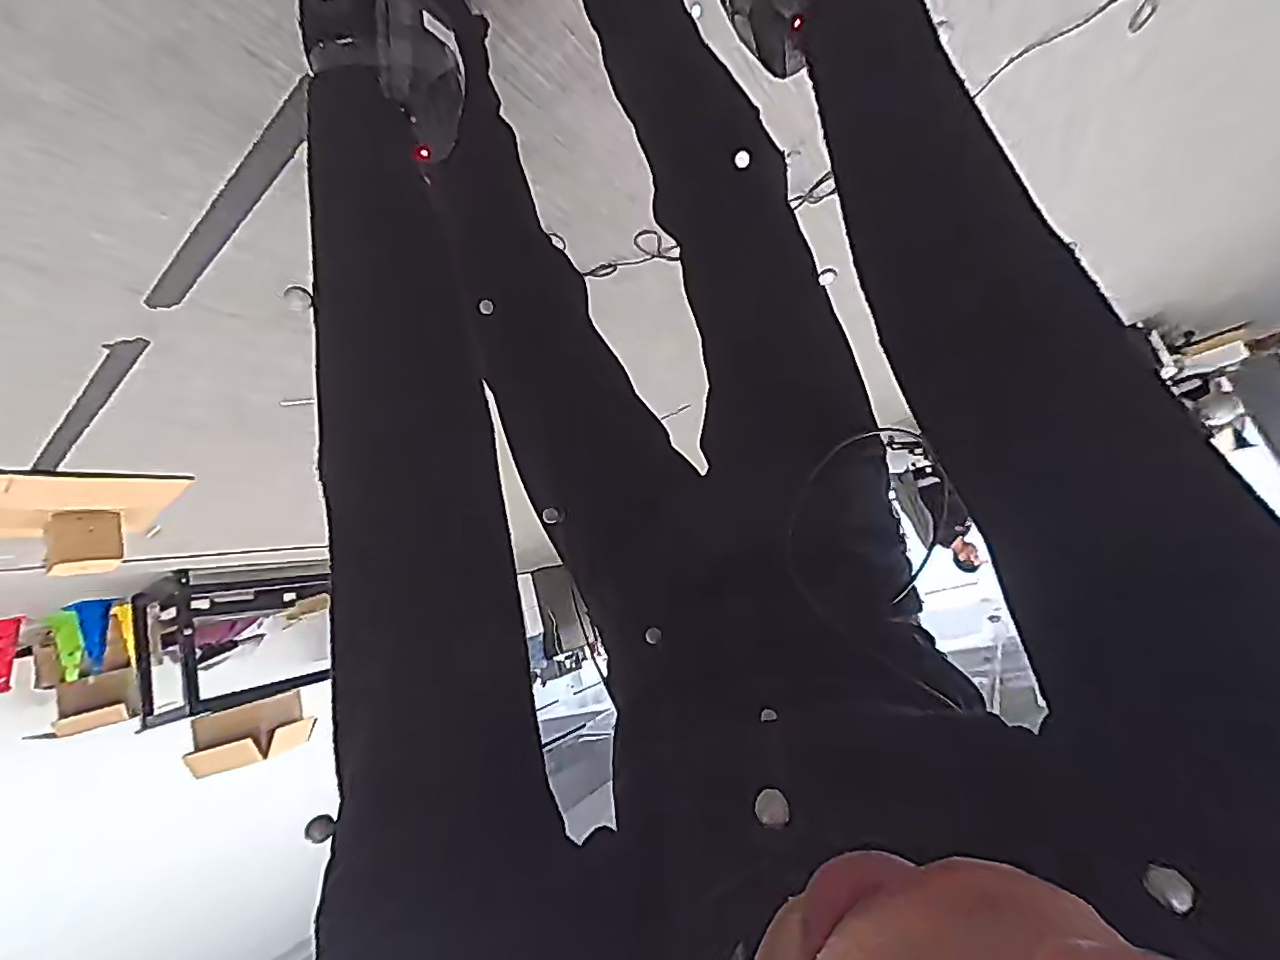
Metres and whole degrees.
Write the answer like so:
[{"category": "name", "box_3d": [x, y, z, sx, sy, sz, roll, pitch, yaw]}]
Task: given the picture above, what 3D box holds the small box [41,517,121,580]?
[{"category": "small box", "box_3d": [-1.911, 0.231, 1.845, 0.179, 0.176, 0.168, -24, 166, 32]}]
